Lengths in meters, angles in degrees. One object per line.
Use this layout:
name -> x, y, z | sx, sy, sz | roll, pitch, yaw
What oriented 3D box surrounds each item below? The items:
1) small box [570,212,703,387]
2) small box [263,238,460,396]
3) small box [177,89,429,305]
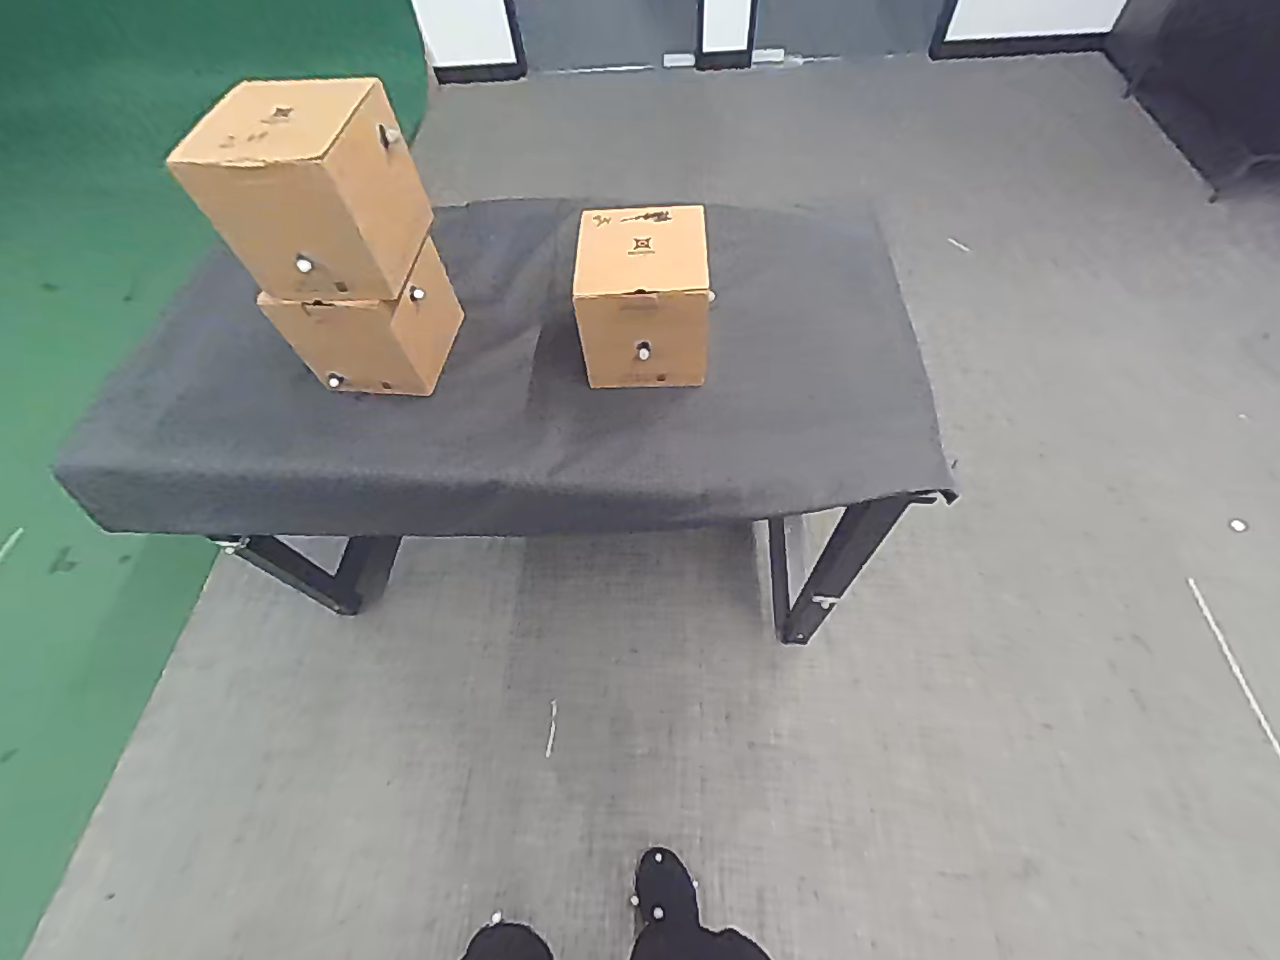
small box -> 0.004, -0.245, 0.760 | 0.168, 0.176, 0.179 | -1, 58, 3
small box -> -0.382, -0.240, 0.783 | 0.168, 0.176, 0.179 | 4, 57, 6
small box -> -0.375, -0.335, 0.647 | 0.168, 0.176, 0.179 | 1, 58, 5
